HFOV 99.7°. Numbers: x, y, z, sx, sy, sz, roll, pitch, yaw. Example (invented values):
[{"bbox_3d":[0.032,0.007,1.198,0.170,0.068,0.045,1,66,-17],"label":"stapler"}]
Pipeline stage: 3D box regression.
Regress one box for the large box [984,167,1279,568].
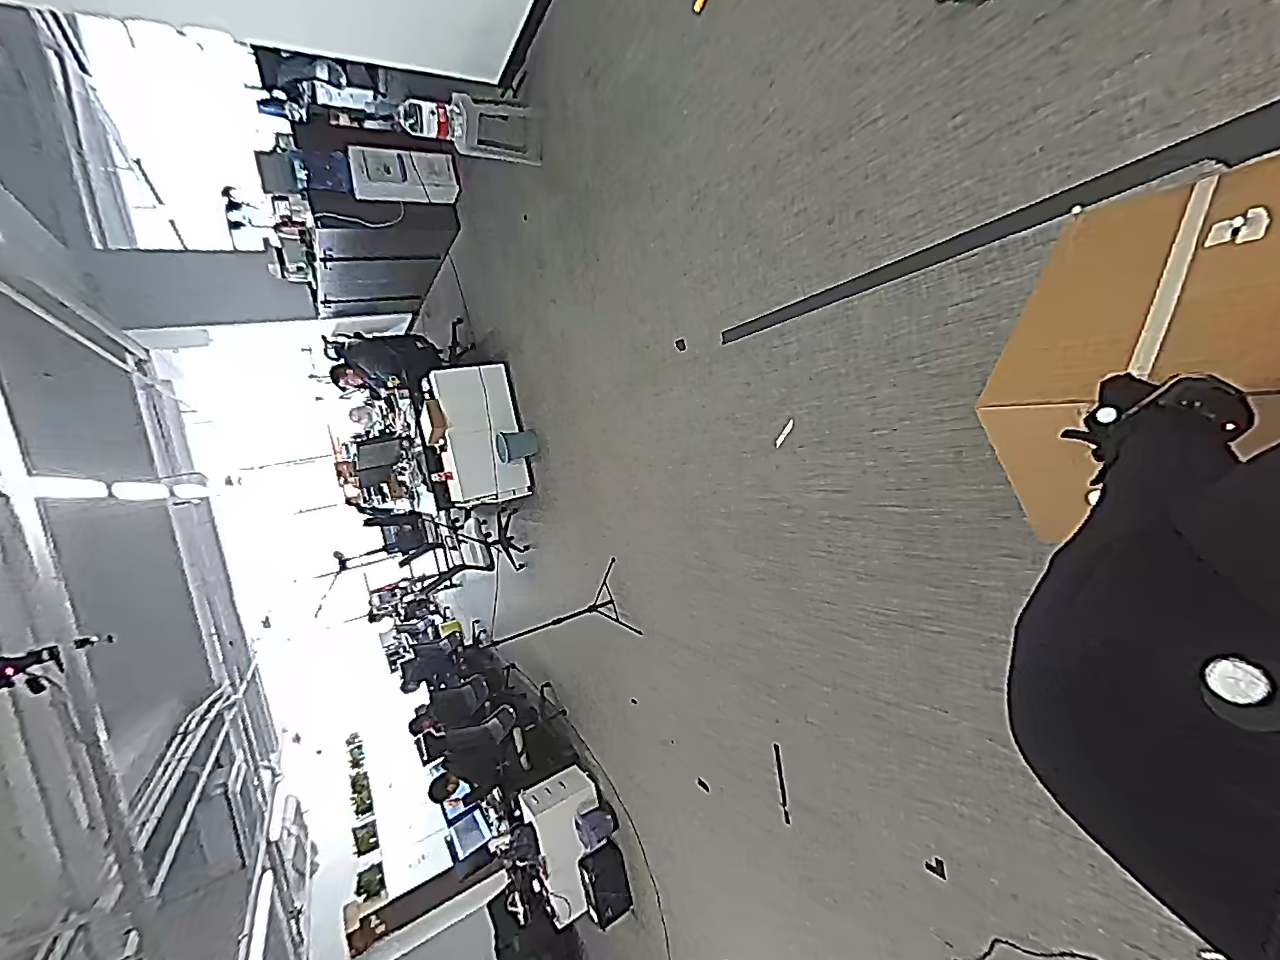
[{"bbox_3d":[0.743,-0.139,0.725,0.320,0.408,0.320,46,160,-27],"label":"large box"}]
